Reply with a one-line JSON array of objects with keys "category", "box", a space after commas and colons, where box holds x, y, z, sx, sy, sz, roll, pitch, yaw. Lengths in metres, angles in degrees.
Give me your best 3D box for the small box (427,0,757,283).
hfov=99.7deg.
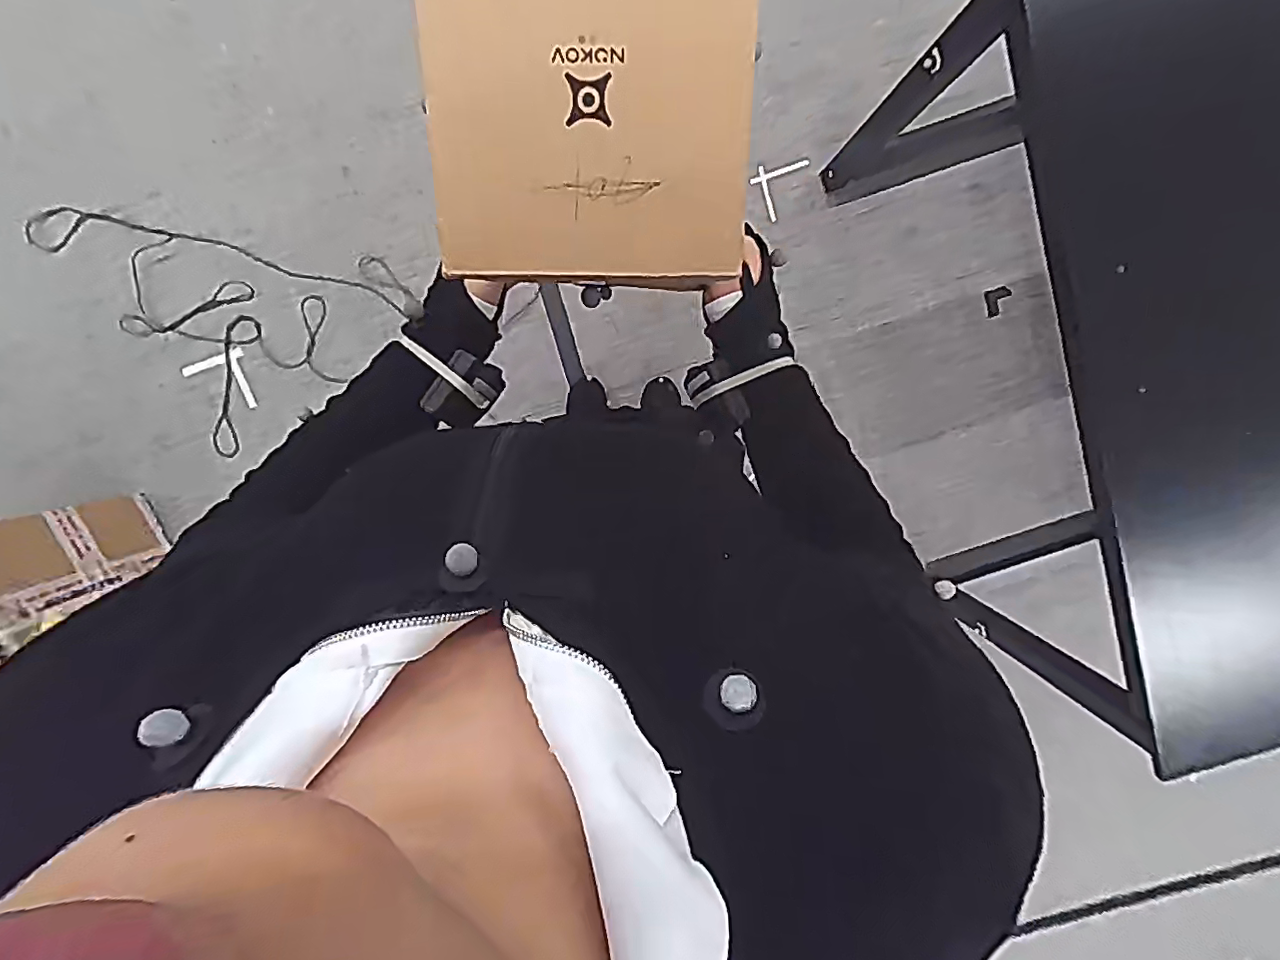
[{"category": "small box", "box": [-0.024, -0.225, 0.353, 0.168, 0.176, 0.179, 0, 109, 1]}]
